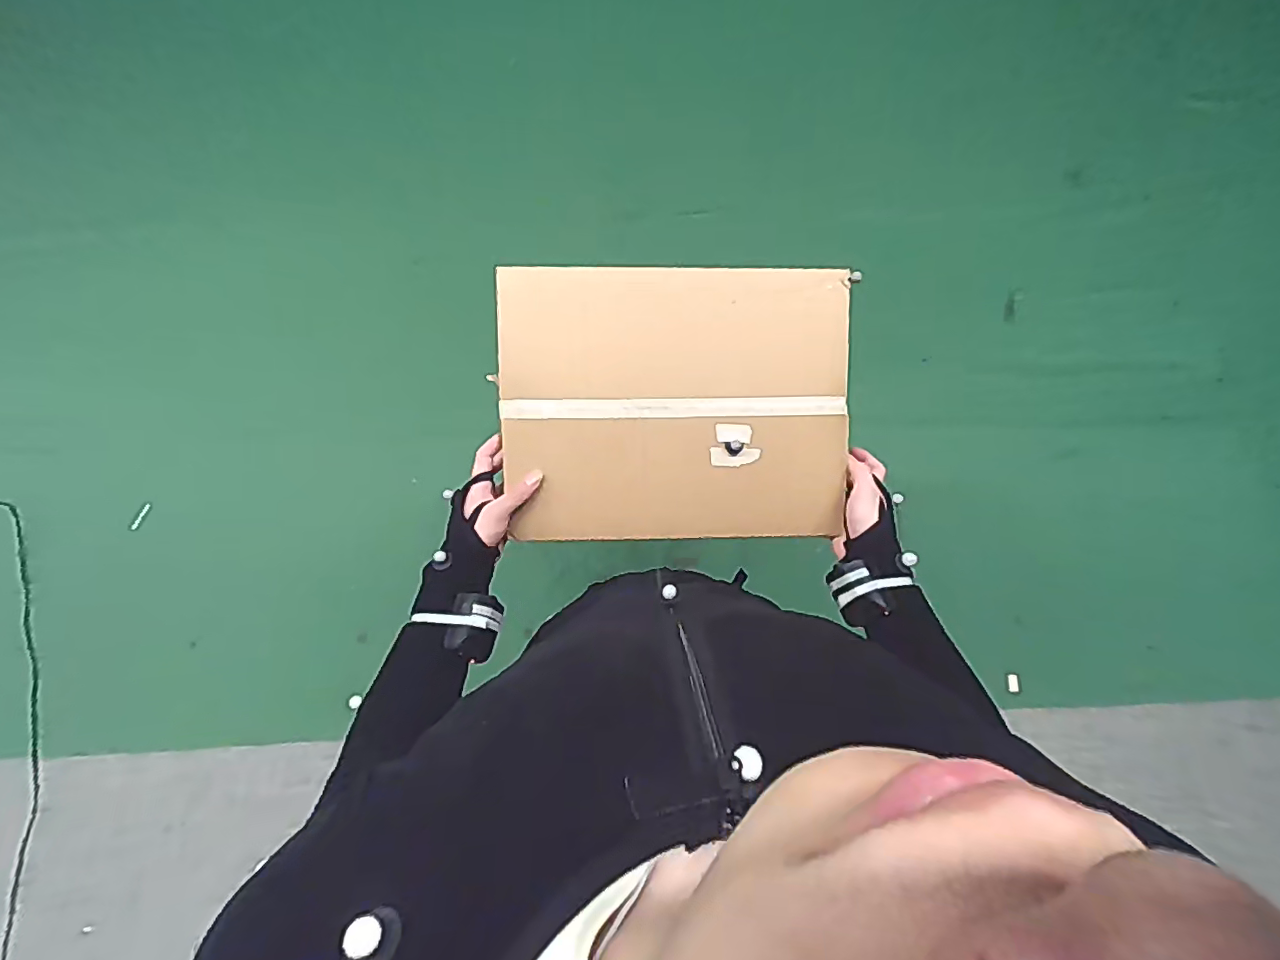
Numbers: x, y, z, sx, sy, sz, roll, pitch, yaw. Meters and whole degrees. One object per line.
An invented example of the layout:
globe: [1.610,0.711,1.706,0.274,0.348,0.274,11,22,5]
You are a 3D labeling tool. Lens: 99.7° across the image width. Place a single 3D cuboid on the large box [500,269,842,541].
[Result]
large box: [0.032,-0.101,0.785,0.408,0.320,0.320,-2,96,-4]
